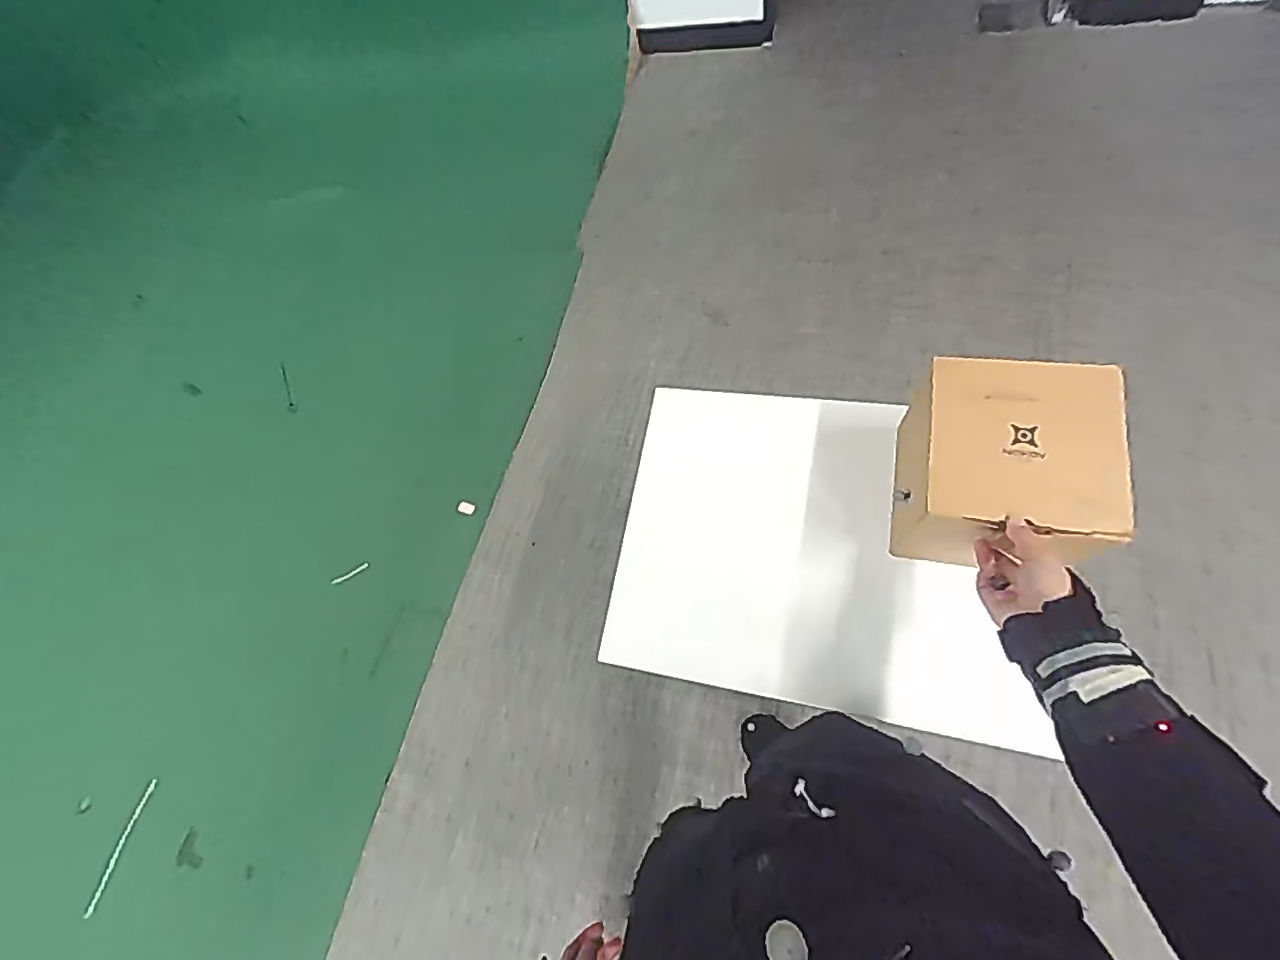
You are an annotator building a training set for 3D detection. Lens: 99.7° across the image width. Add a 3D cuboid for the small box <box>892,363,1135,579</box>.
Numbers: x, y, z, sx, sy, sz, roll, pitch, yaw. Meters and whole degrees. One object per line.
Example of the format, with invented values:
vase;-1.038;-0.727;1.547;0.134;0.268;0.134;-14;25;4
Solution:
small box;0.379;-0.002;0.582;0.168;0.176;0.179;7;70;15
